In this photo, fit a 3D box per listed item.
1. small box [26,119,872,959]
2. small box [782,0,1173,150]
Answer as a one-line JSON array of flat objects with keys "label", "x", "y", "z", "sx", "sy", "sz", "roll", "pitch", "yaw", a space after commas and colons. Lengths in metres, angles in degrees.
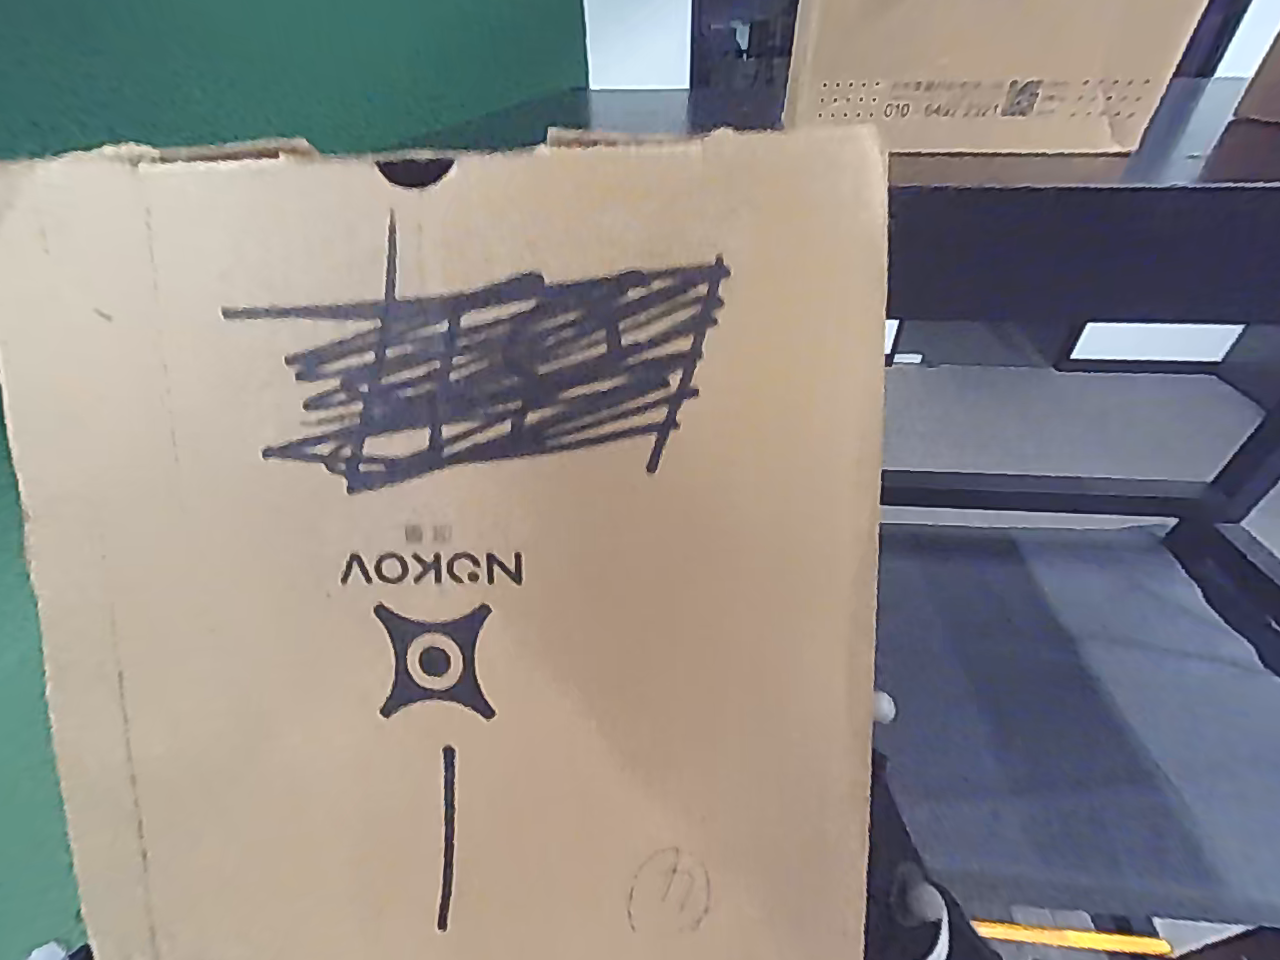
[{"label": "small box", "x": -0.034, "y": 0.012, "z": 0.190, "sx": 0.168, "sy": 0.179, "sz": 0.176, "roll": 0, "pitch": 6, "yaw": 3}, {"label": "small box", "x": 0.174, "y": -0.288, "z": 0.297, "sx": 0.168, "sy": 0.176, "sz": 0.179, "roll": 5, "pitch": 38, "yaw": 8}]
